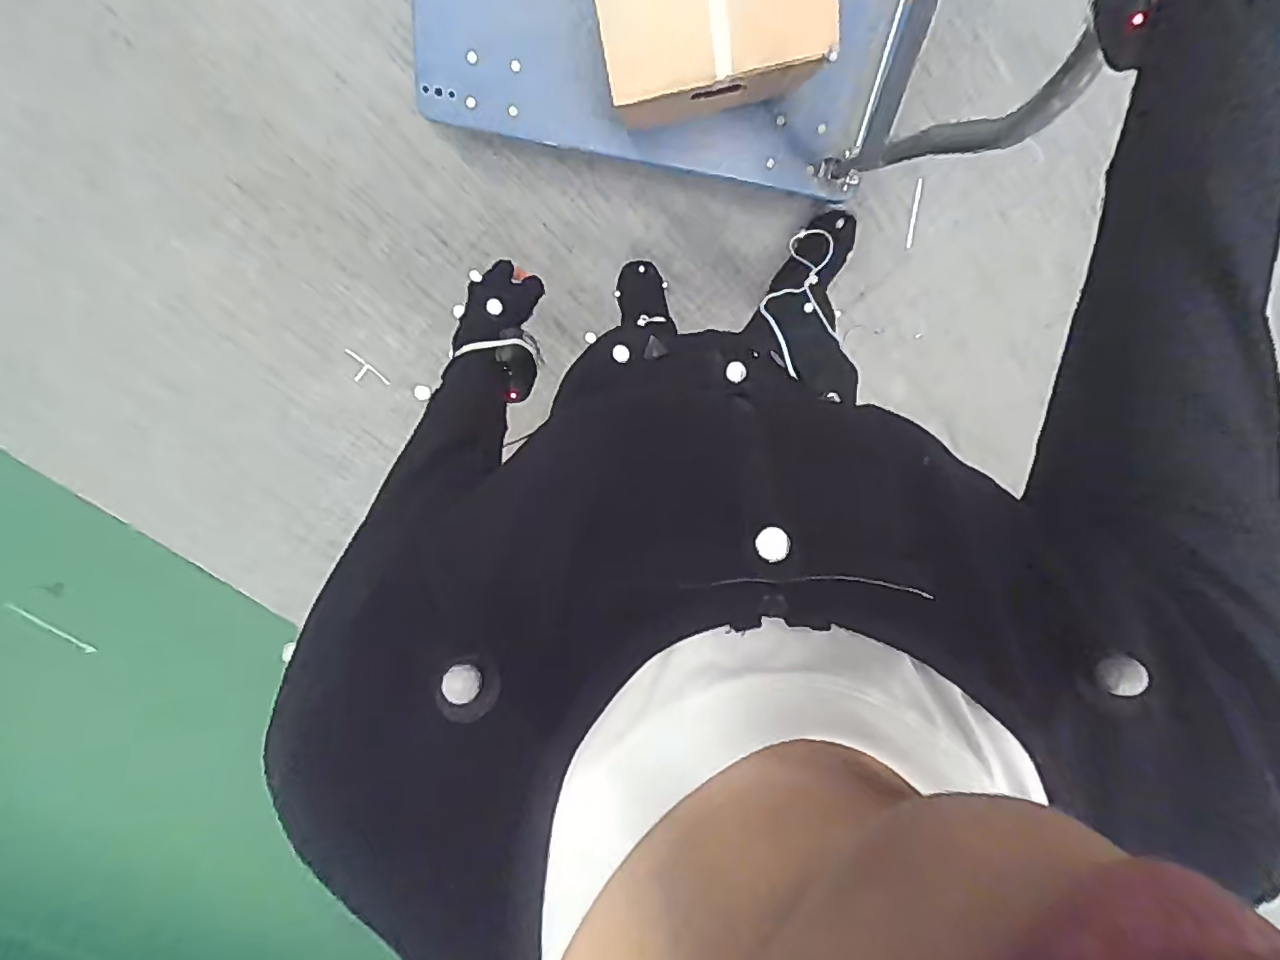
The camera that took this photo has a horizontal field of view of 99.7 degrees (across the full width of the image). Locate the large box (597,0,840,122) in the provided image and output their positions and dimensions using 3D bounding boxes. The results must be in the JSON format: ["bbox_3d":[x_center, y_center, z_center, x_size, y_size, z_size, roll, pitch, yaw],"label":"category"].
[{"bbox_3d":[0.082,-0.800,0.783,0.320,0.320,0.408,-9,118,7],"label":"large box"}]
